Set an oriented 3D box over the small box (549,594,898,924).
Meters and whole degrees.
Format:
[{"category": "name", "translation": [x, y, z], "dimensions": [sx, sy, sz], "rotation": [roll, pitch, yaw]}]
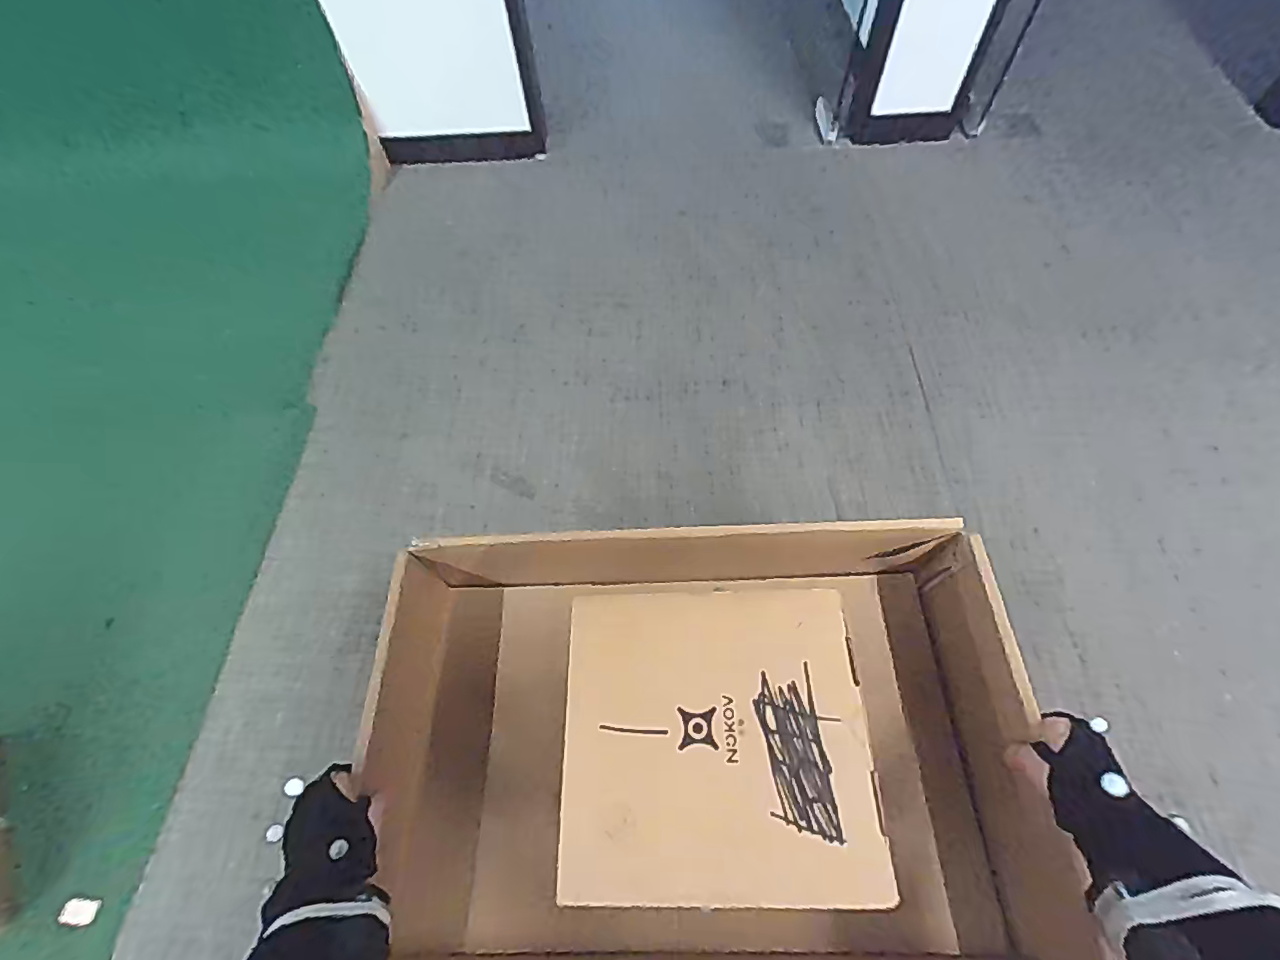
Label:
[{"category": "small box", "translation": [0.046, 0.183, 0.374], "dimensions": [0.179, 0.176, 0.168], "rotation": [-3, 61, 5]}]
